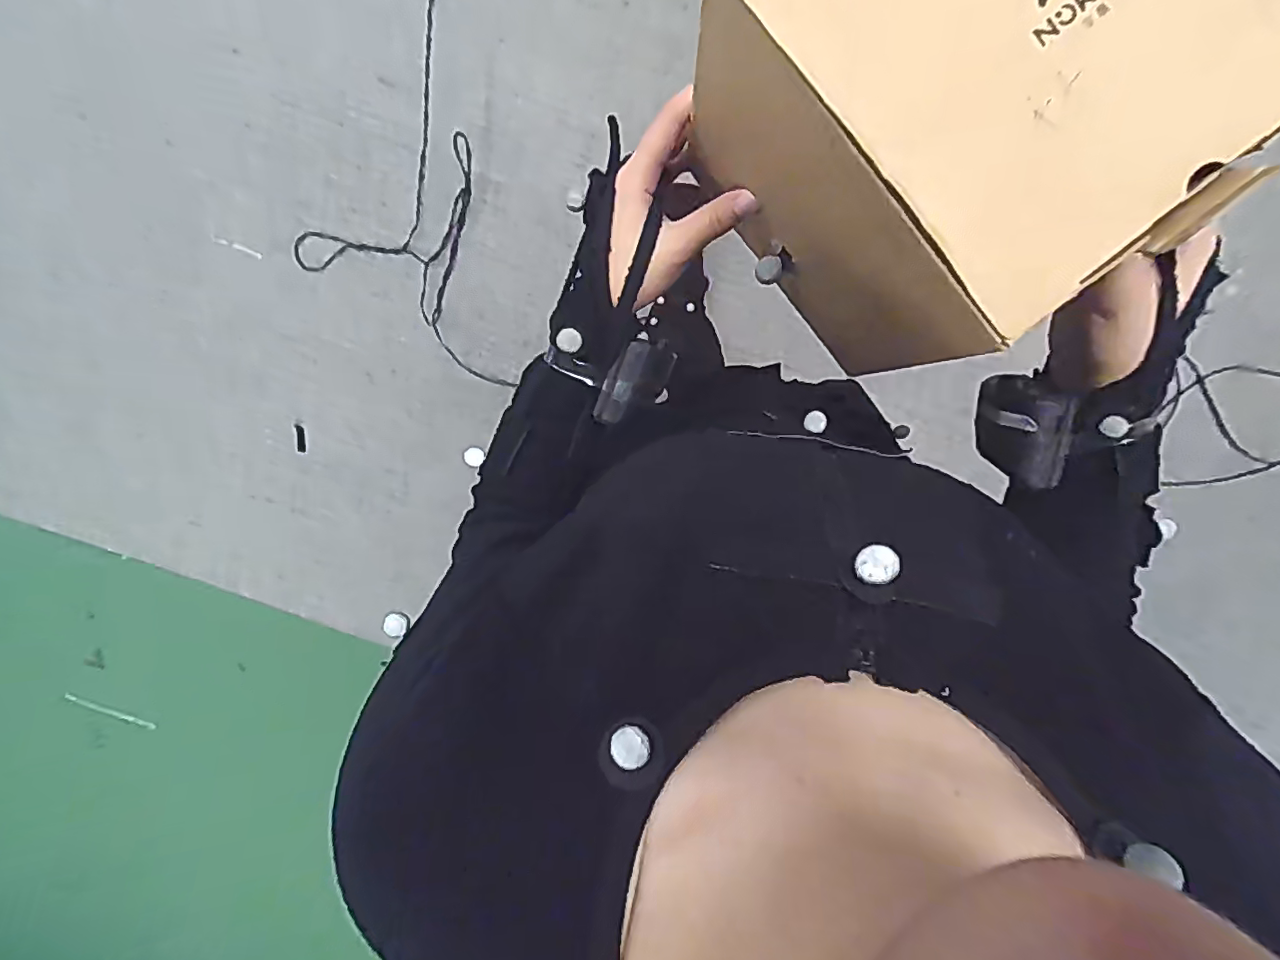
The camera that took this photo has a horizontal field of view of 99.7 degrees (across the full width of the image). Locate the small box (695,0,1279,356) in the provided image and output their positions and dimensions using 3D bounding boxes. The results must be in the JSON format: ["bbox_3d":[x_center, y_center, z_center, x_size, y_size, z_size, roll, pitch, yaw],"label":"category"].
[{"bbox_3d":[0.143,-0.176,0.266,0.168,0.176,0.179,-38,94,6],"label":"small box"}]
